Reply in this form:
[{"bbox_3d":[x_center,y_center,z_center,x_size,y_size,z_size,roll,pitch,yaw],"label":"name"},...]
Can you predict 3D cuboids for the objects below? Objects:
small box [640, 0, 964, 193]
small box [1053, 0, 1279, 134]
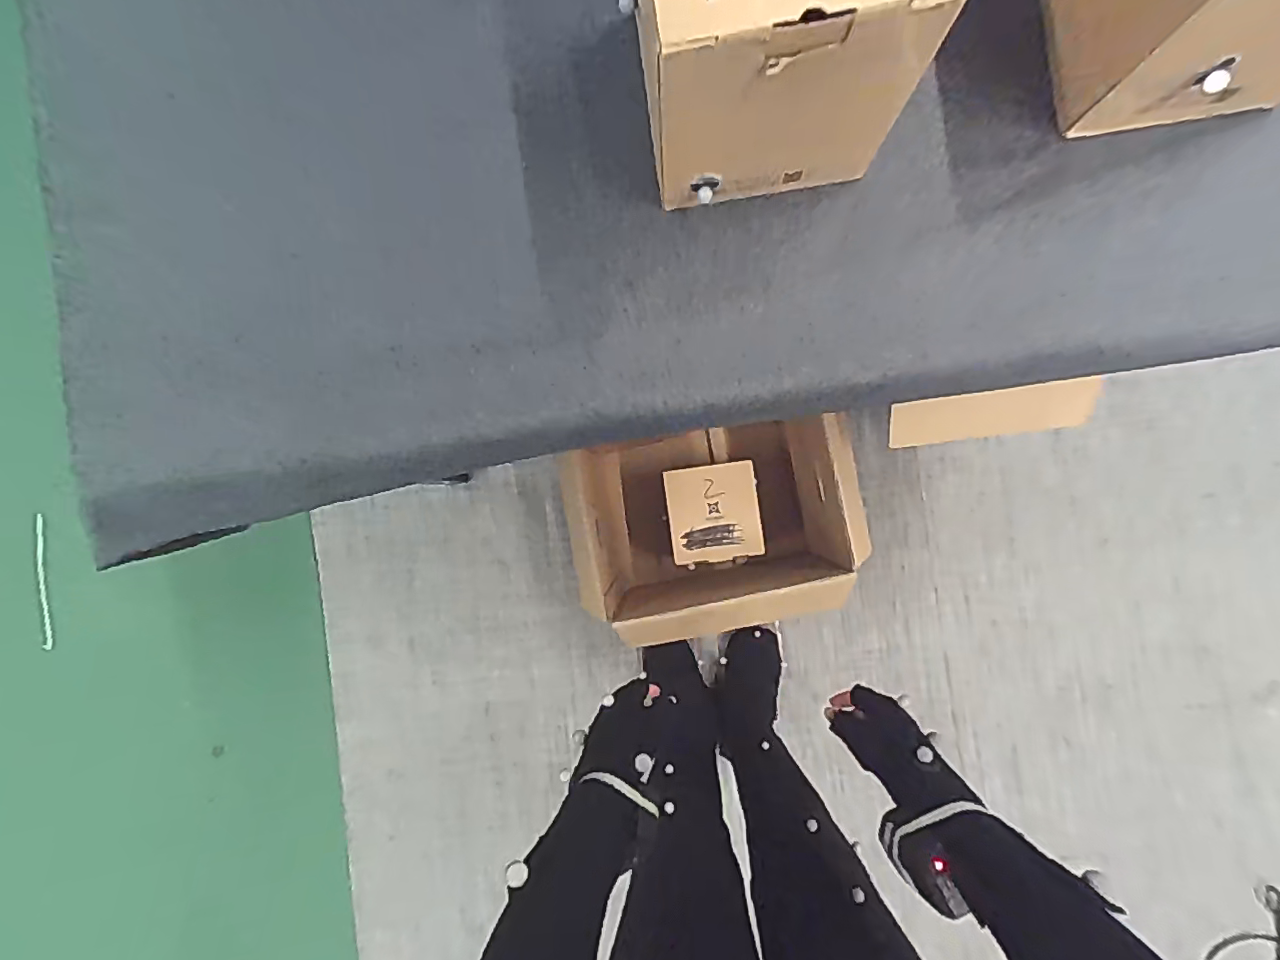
[{"bbox_3d":[0.086,-0.320,0.363,0.168,0.176,0.179,-8,88,3],"label":"small box"},{"bbox_3d":[0.402,-0.369,0.347,0.168,0.176,0.179,-7,89,3],"label":"small box"}]
